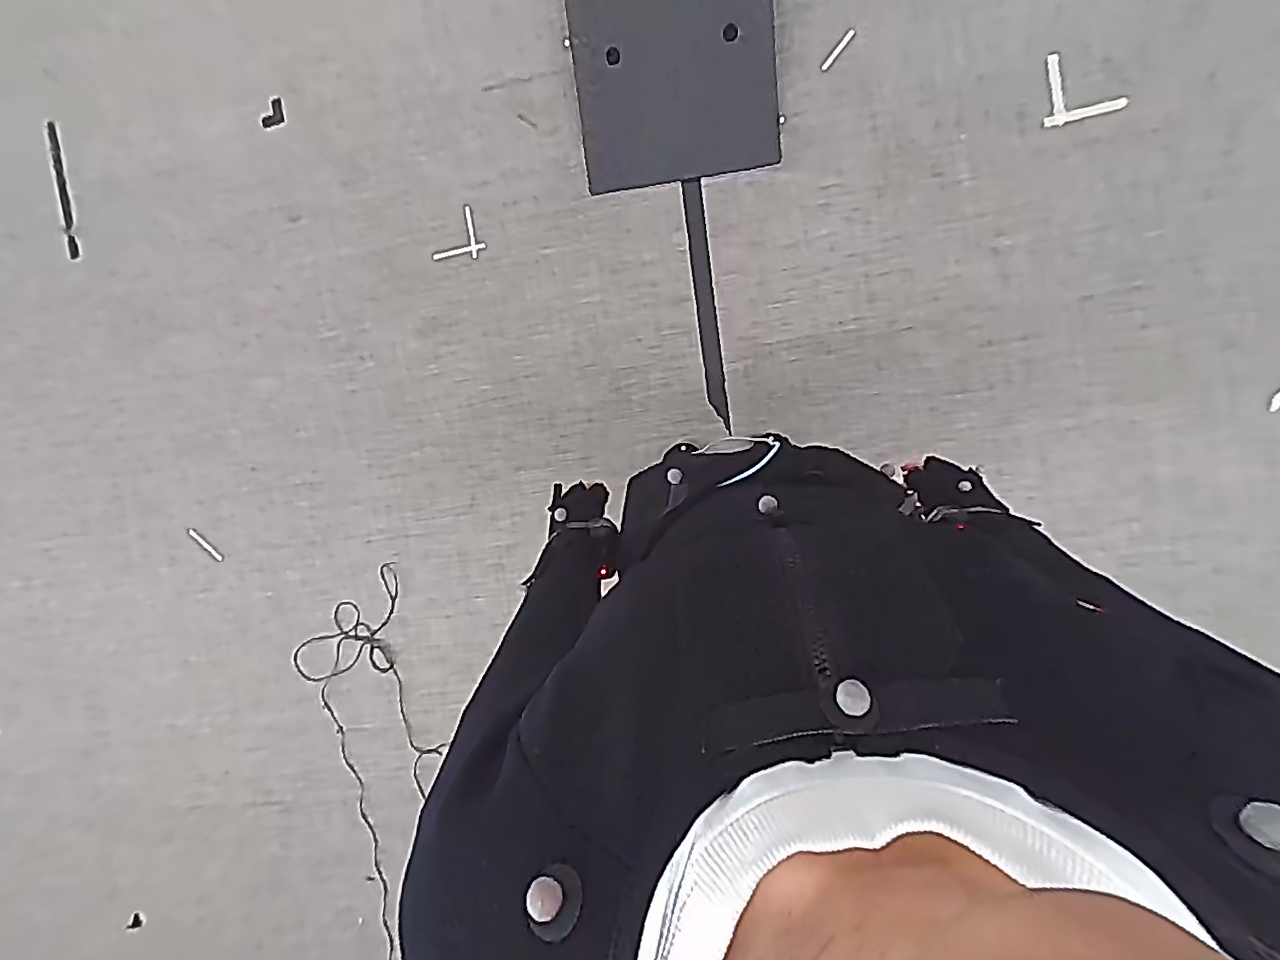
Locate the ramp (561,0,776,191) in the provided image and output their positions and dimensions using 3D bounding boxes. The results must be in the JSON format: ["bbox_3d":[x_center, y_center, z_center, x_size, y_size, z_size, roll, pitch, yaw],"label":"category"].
[{"bbox_3d":[0.041,-1.254,1.253,0.509,0.206,0.991,-7,95,7],"label":"ramp"}]
